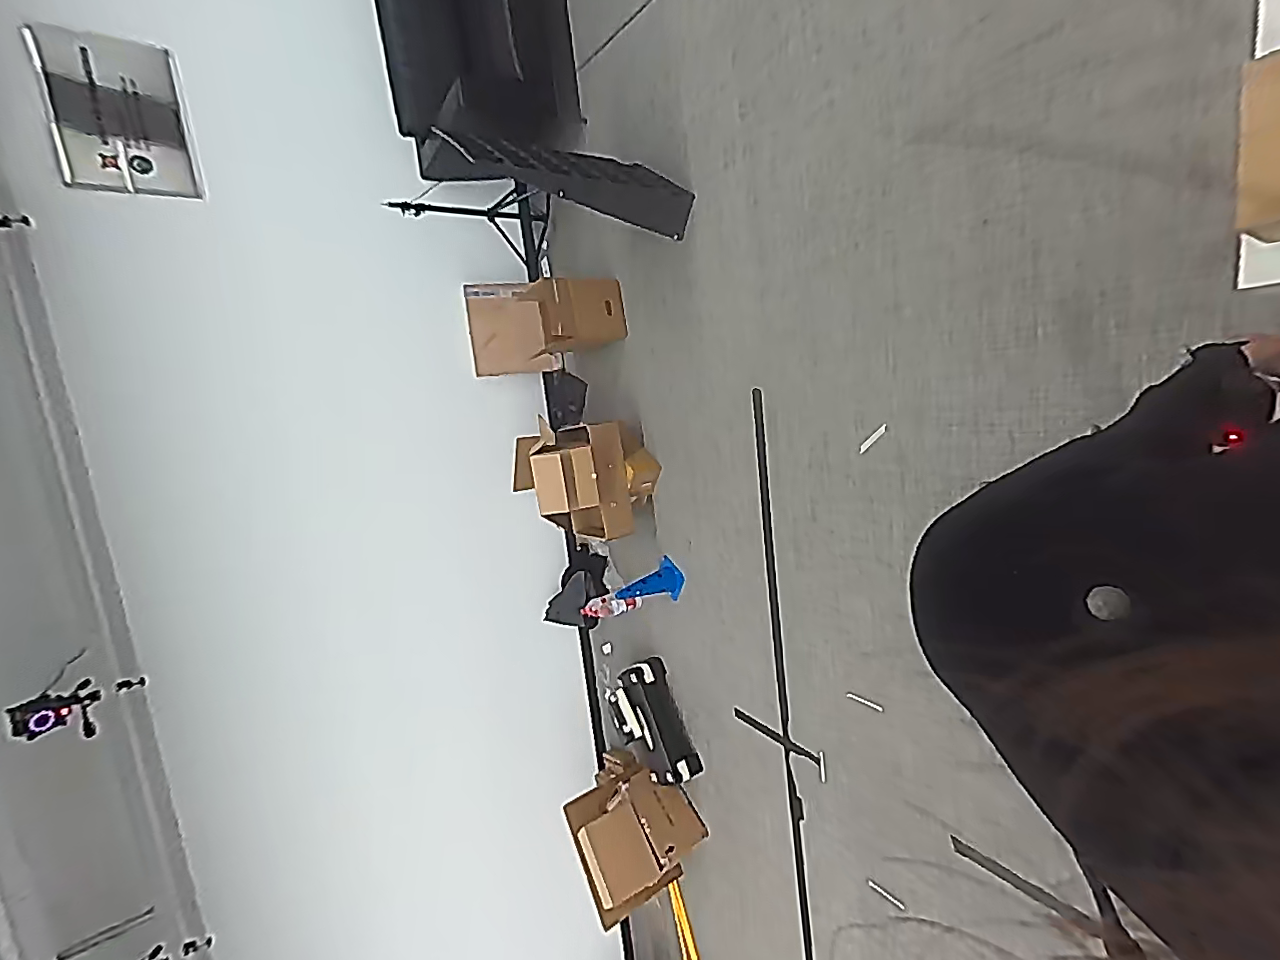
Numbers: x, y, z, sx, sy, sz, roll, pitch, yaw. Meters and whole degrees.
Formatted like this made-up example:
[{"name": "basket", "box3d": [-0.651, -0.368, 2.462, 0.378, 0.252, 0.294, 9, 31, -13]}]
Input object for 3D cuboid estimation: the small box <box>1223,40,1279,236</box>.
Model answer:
[{"name": "small box", "box3d": [0.756, -0.374, 0.568, 0.168, 0.176, 0.179, 7, 106, 57]}]
